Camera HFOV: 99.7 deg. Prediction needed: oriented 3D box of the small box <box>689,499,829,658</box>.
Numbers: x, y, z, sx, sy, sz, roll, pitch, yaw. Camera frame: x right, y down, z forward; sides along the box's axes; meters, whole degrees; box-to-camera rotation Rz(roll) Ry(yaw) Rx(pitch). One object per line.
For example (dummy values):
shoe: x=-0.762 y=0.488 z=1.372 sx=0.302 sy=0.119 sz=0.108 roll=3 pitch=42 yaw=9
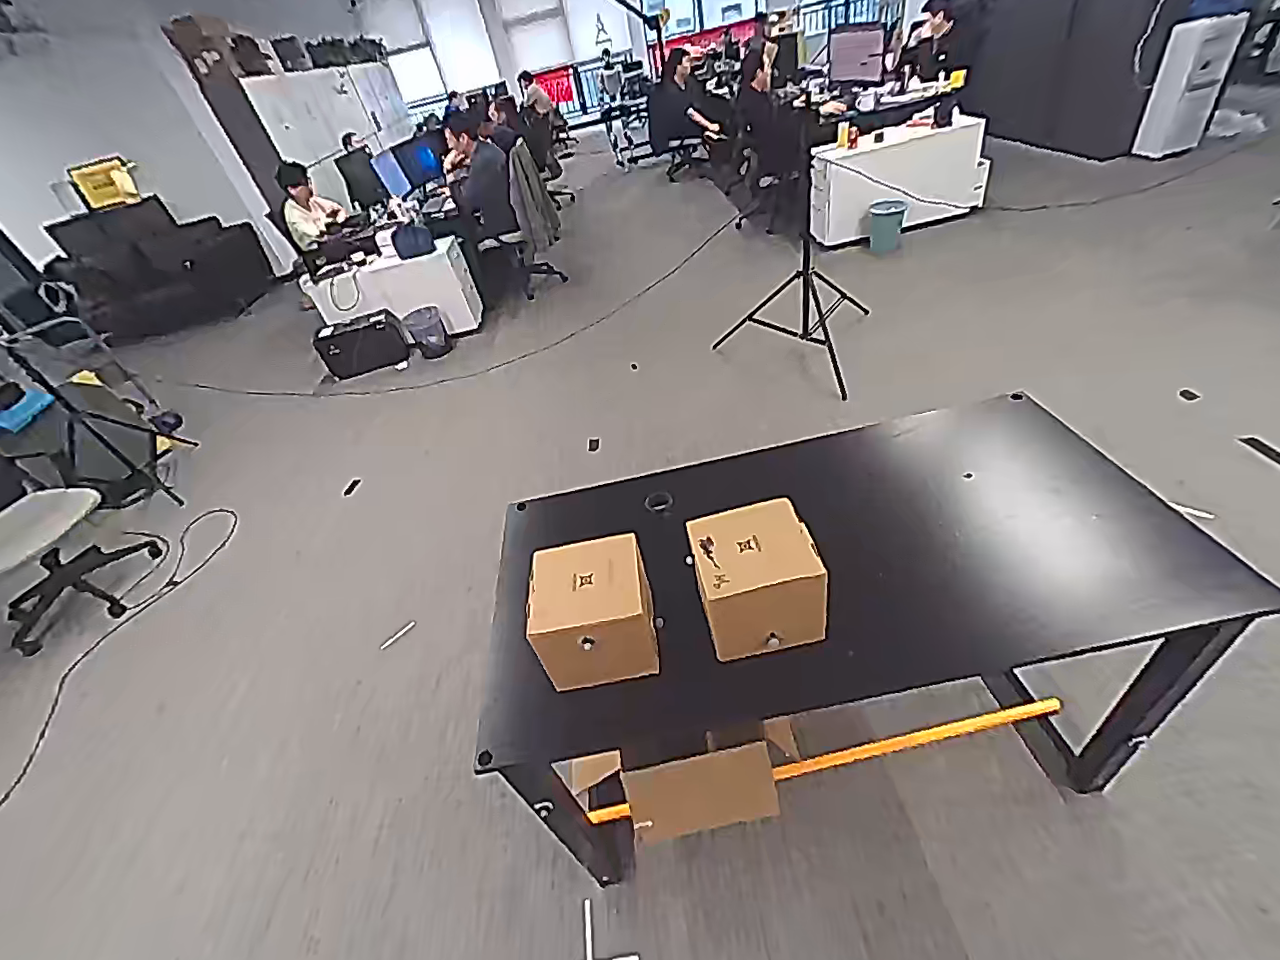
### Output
small box: x=0.186 y=0.160 z=0.872 sx=0.179 sy=0.176 sz=0.168 roll=-13 pitch=39 yaw=1

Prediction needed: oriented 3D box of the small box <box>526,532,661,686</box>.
small box: x=-0.072 y=0.214 z=0.886 sx=0.179 sy=0.176 sz=0.168 roll=-11 pitch=41 yaw=2
